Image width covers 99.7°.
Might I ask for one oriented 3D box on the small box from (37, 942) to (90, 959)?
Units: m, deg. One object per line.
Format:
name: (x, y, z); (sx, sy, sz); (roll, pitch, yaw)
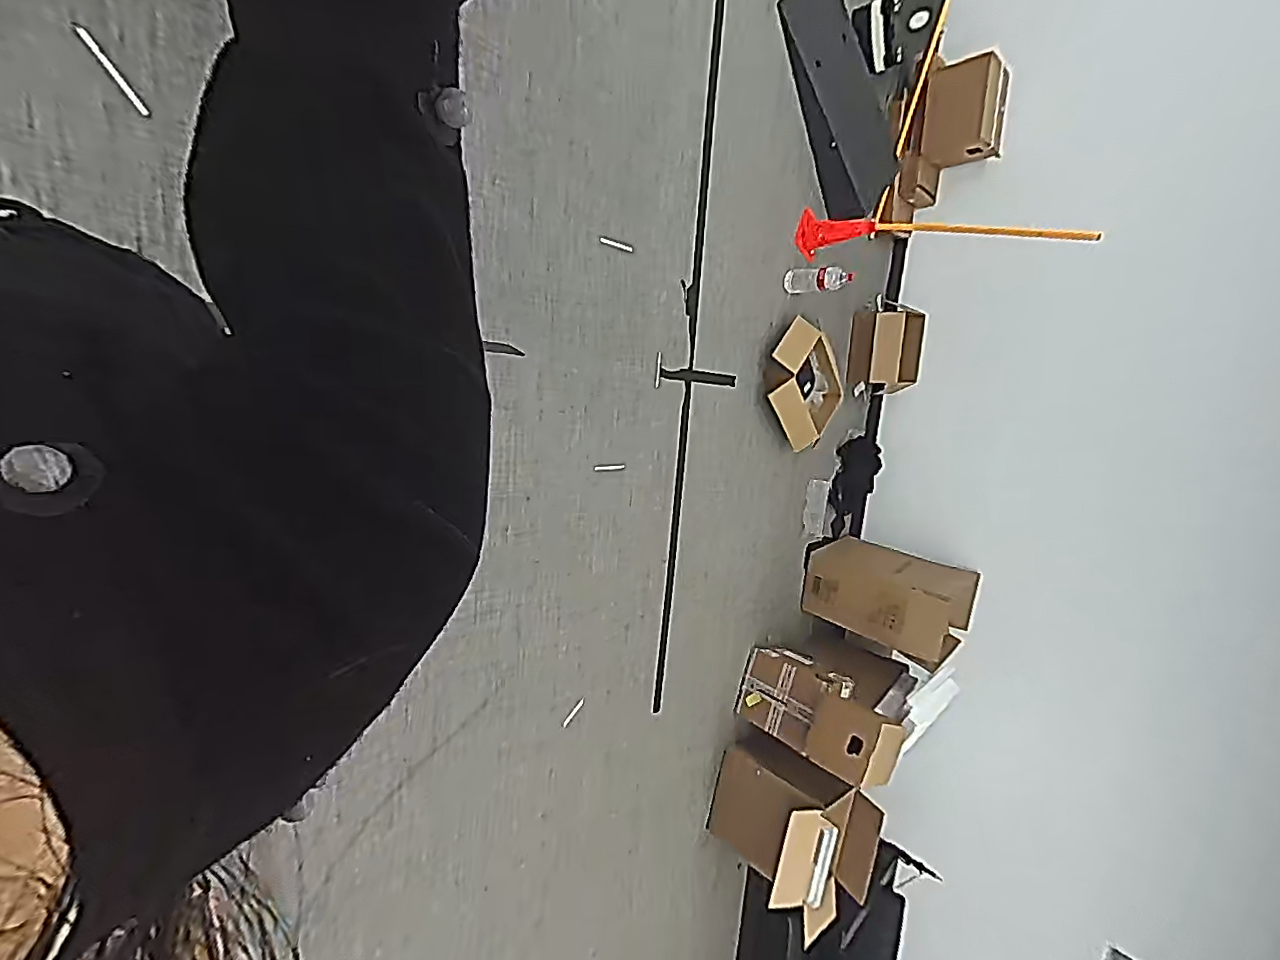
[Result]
small box: (-1.218, 1.107, 1.092); (0.168, 0.176, 0.179); (-18, 113, -43)
